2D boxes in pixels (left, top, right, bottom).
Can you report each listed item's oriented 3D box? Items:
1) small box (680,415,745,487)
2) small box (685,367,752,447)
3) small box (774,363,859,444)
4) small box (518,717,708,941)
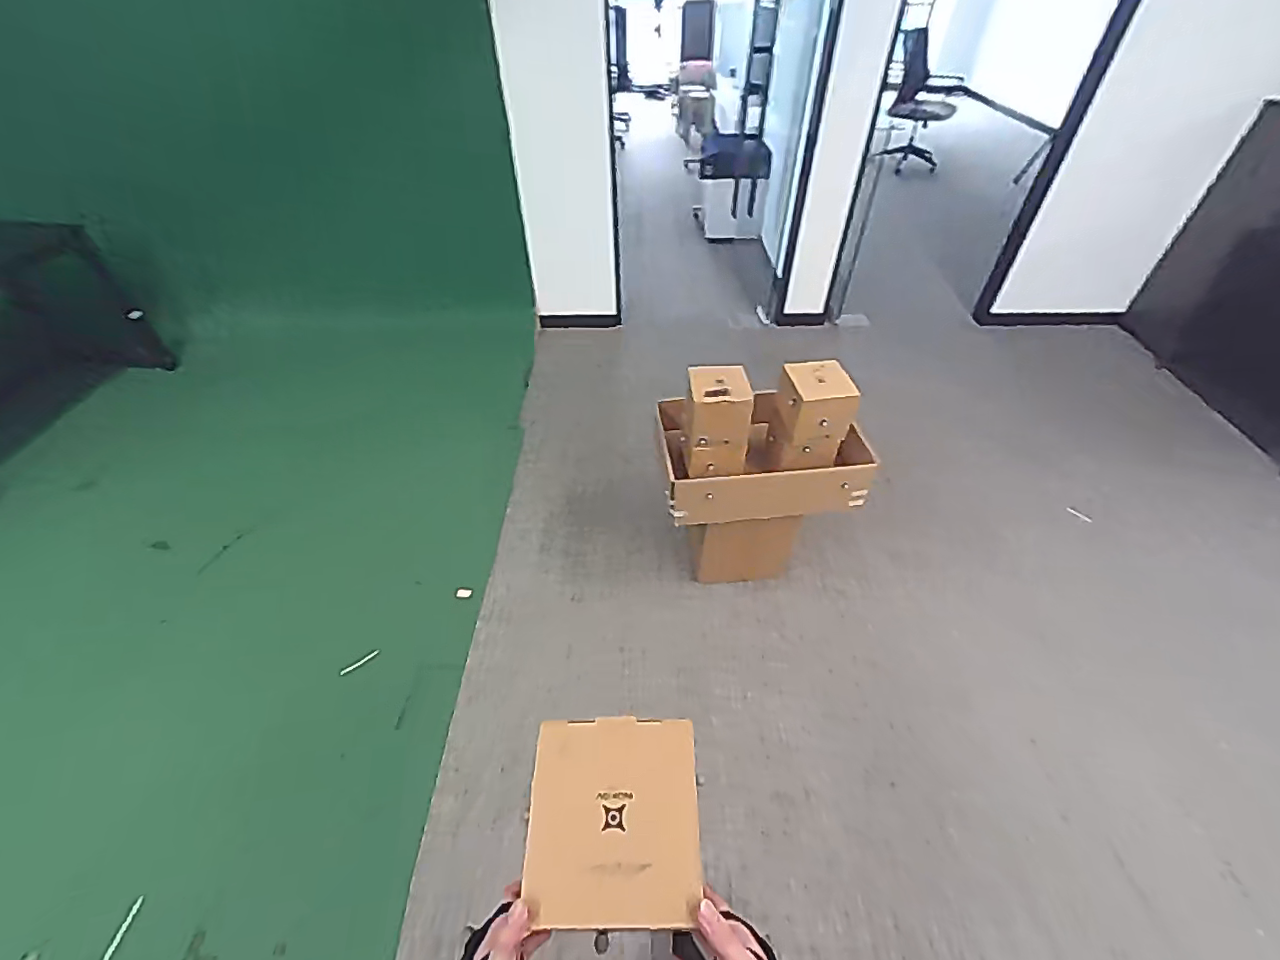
[{"bbox_3d":[0.220,-0.089,1.680,0.168,0.176,0.179,-5,45,-4],"label":"small box"},{"bbox_3d":[0.221,-0.206,1.564,0.168,0.176,0.179,-2,44,-1],"label":"small box"},{"bbox_3d":[0.505,-0.217,1.573,0.168,0.176,0.179,-6,46,-7],"label":"small box"},{"bbox_3d":[-0.021,0.369,0.572,0.168,0.176,0.179,0,49,2],"label":"small box"}]
